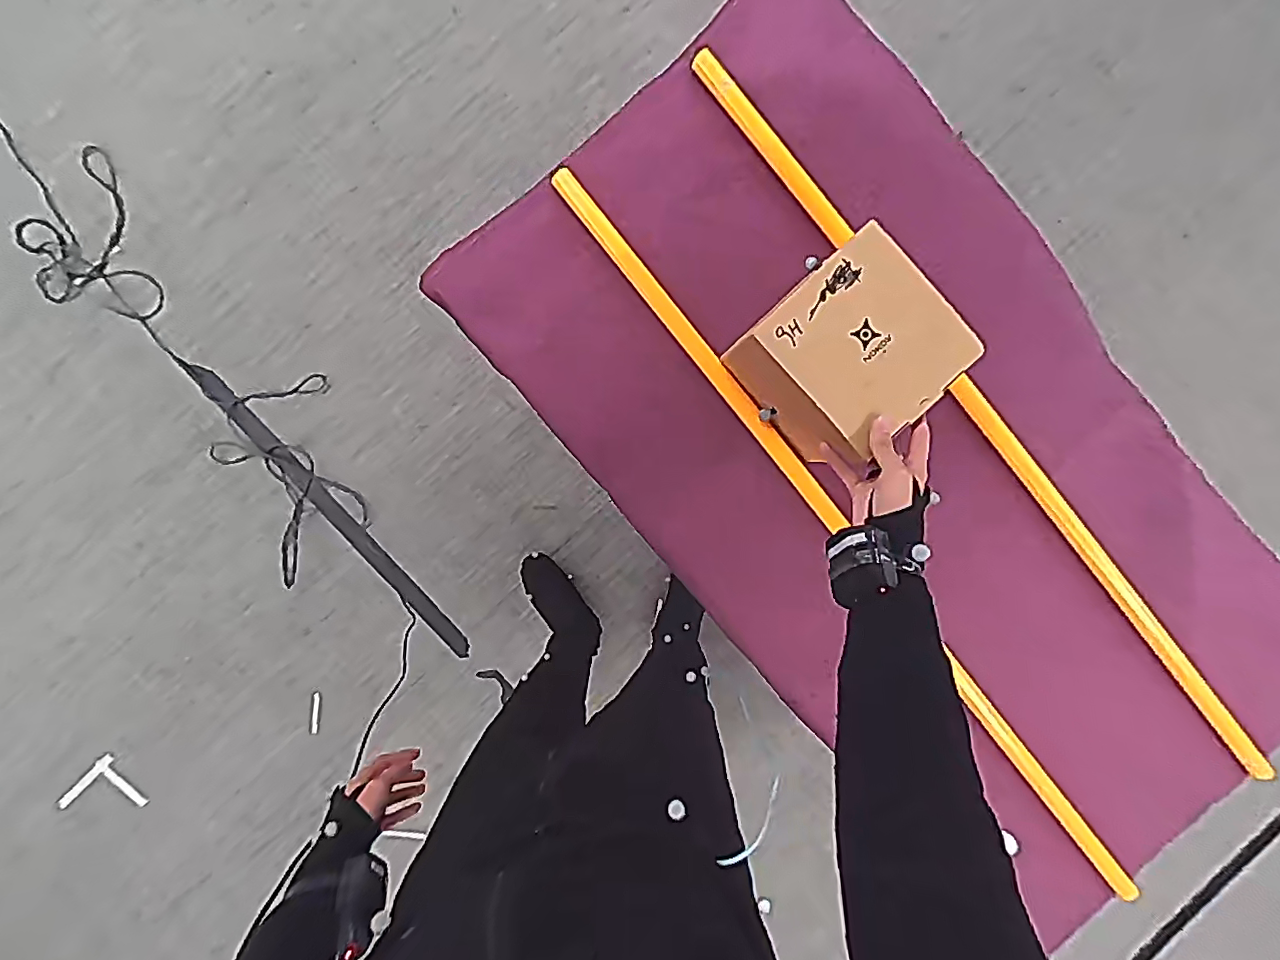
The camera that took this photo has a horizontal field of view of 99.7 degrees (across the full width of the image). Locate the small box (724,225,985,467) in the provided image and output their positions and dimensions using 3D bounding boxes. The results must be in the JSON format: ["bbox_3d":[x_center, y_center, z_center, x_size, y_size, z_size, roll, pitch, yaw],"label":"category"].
[{"bbox_3d":[0.221,-0.135,0.603,0.168,0.176,0.179,-43,95,-1],"label":"small box"}]
